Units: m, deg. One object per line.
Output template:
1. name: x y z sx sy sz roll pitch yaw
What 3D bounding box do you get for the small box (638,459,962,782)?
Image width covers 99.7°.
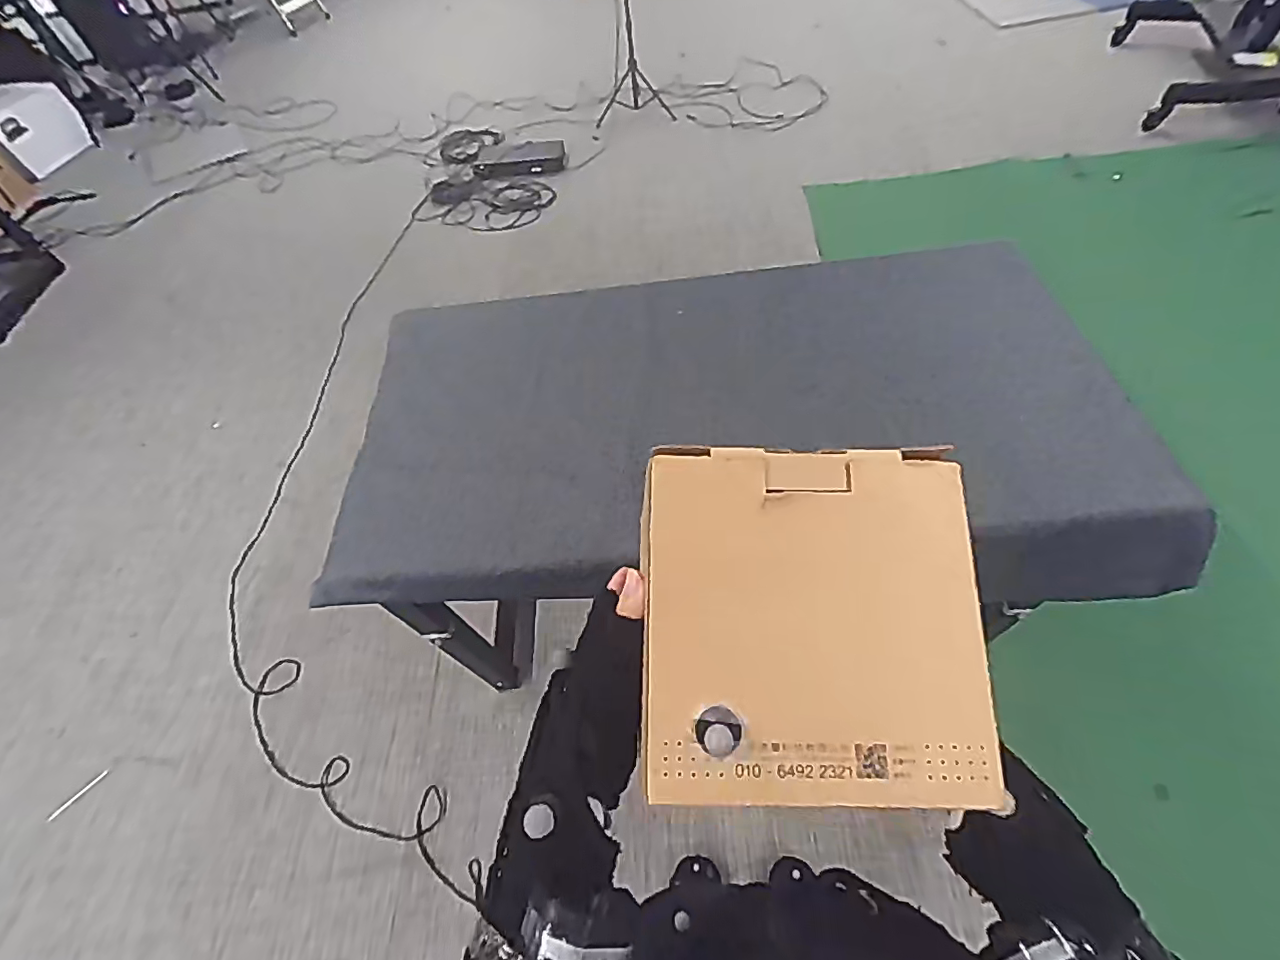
1. small box: 0.084 0.091 0.364 0.168 0.179 0.176 2 74 0
